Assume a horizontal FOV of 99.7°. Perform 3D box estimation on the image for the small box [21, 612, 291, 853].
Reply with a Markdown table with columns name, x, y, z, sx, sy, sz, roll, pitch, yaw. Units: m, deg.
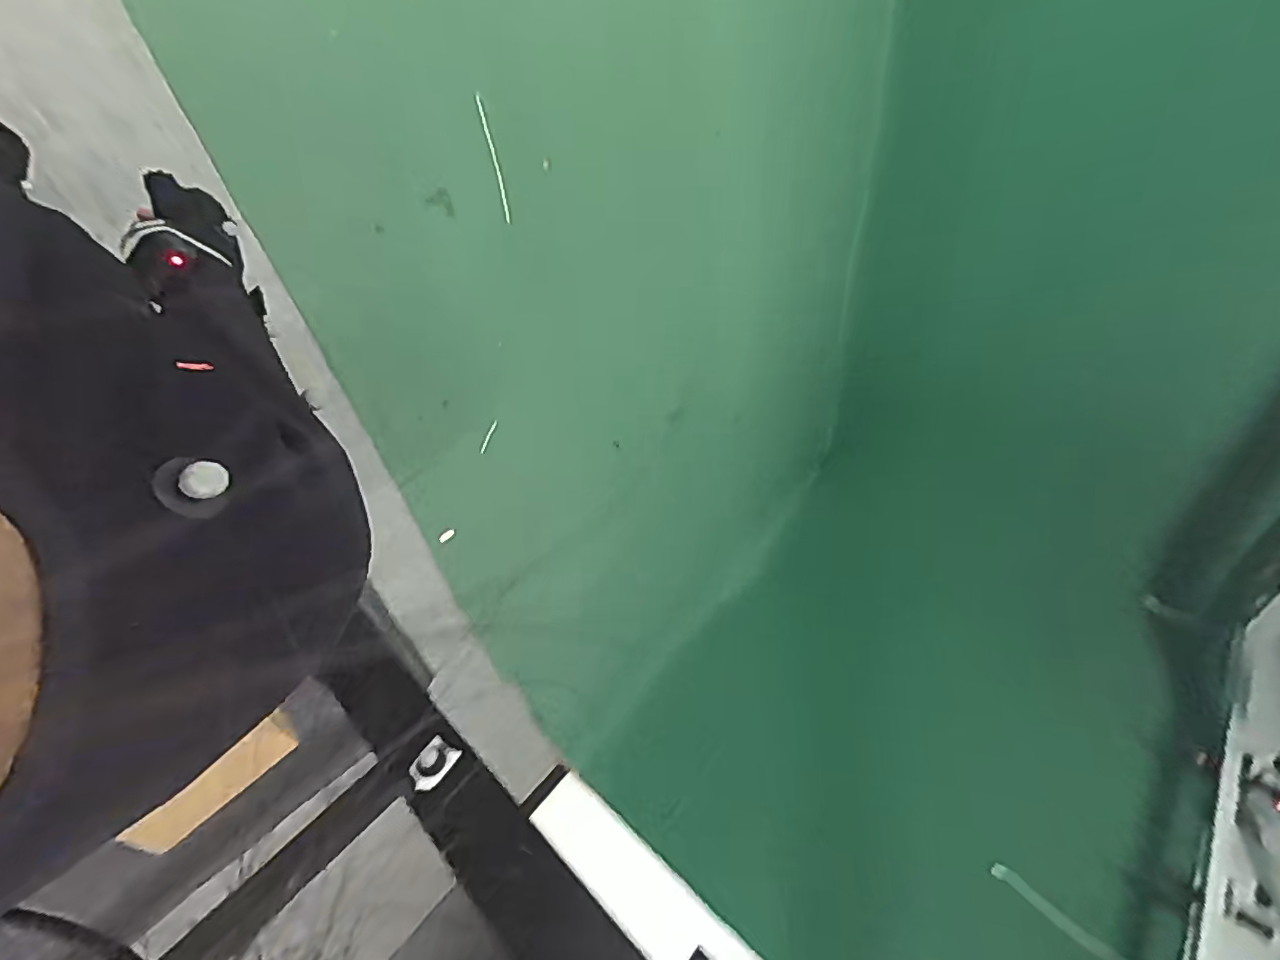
| name | x | y | z | sx | sy | sz | roll | pitch | yaw |
| --- | --- | --- | --- | --- | --- | --- | --- | --- | --- |
| small box | -0.575 | 0.294 | 0.654 | 0.168 | 0.176 | 0.179 | -40 | 139 | -30 |
